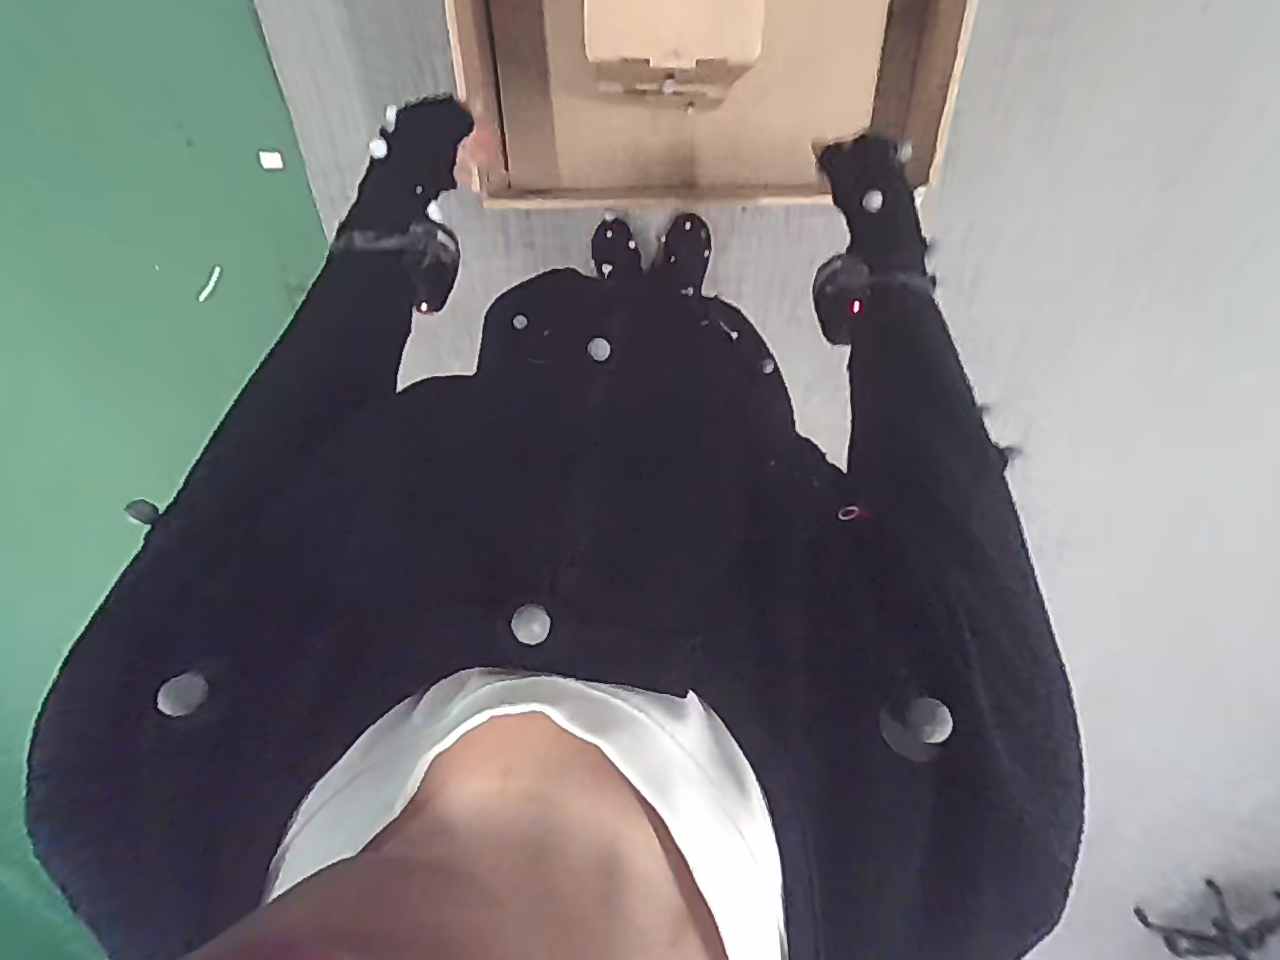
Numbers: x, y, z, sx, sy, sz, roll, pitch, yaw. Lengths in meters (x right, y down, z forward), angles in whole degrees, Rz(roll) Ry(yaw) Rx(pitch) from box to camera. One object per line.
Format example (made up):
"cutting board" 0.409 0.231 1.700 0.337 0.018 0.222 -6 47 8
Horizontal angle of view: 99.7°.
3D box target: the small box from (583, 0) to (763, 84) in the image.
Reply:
"small box" 0.032 -0.506 0.533 0.168 0.176 0.179 1 121 -1

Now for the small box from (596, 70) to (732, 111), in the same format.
"small box" 0.033 -0.579 0.680 0.168 0.176 0.179 1 118 -1
